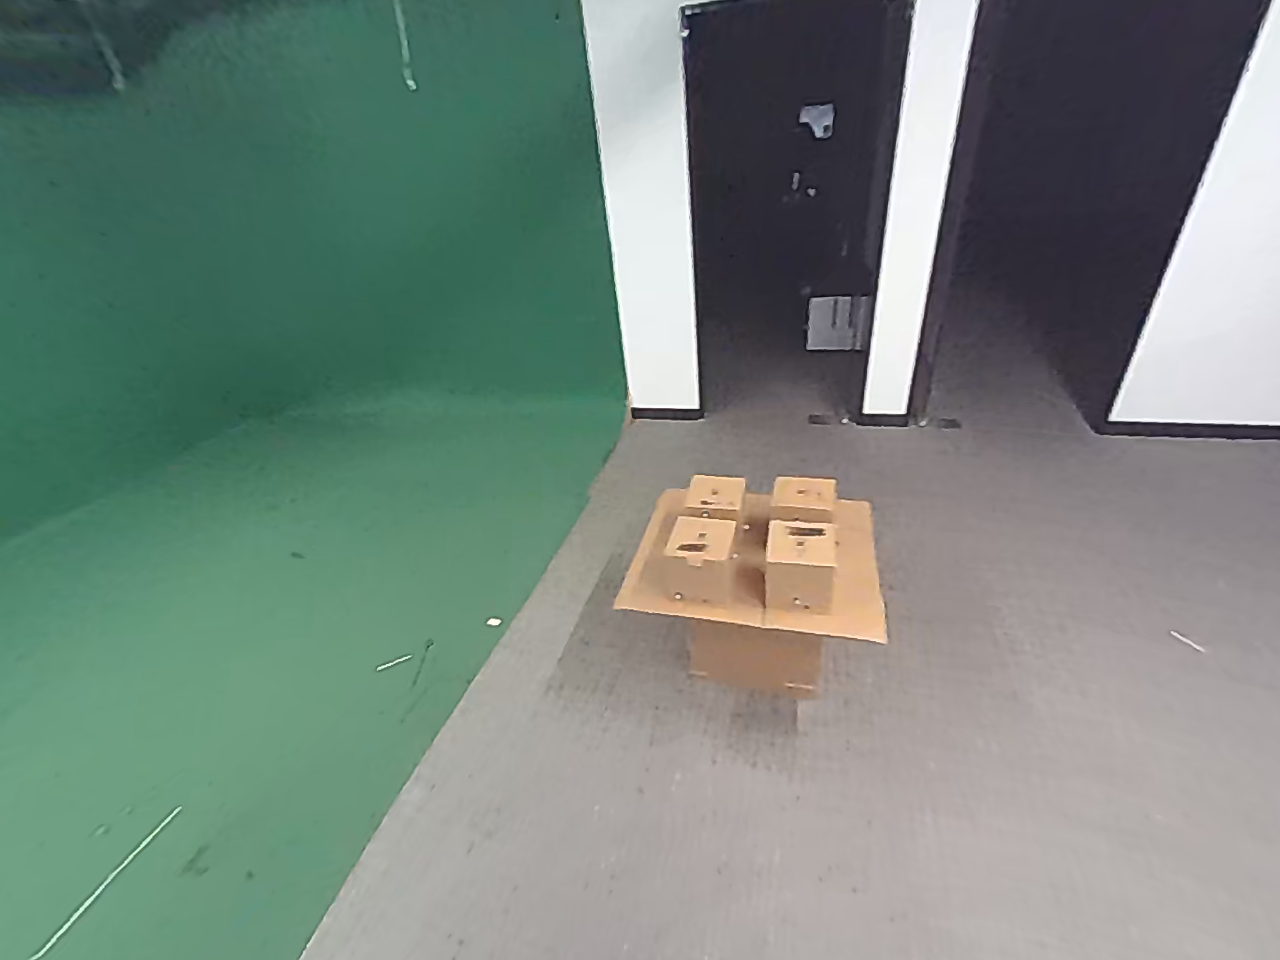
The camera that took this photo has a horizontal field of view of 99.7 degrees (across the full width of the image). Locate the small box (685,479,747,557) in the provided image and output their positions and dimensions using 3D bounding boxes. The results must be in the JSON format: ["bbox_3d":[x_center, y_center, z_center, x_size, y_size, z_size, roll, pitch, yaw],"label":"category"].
[{"bbox_3d":[0.239,0.114,1.658,0.168,0.176,0.179,1,31,16],"label":"small box"}]
